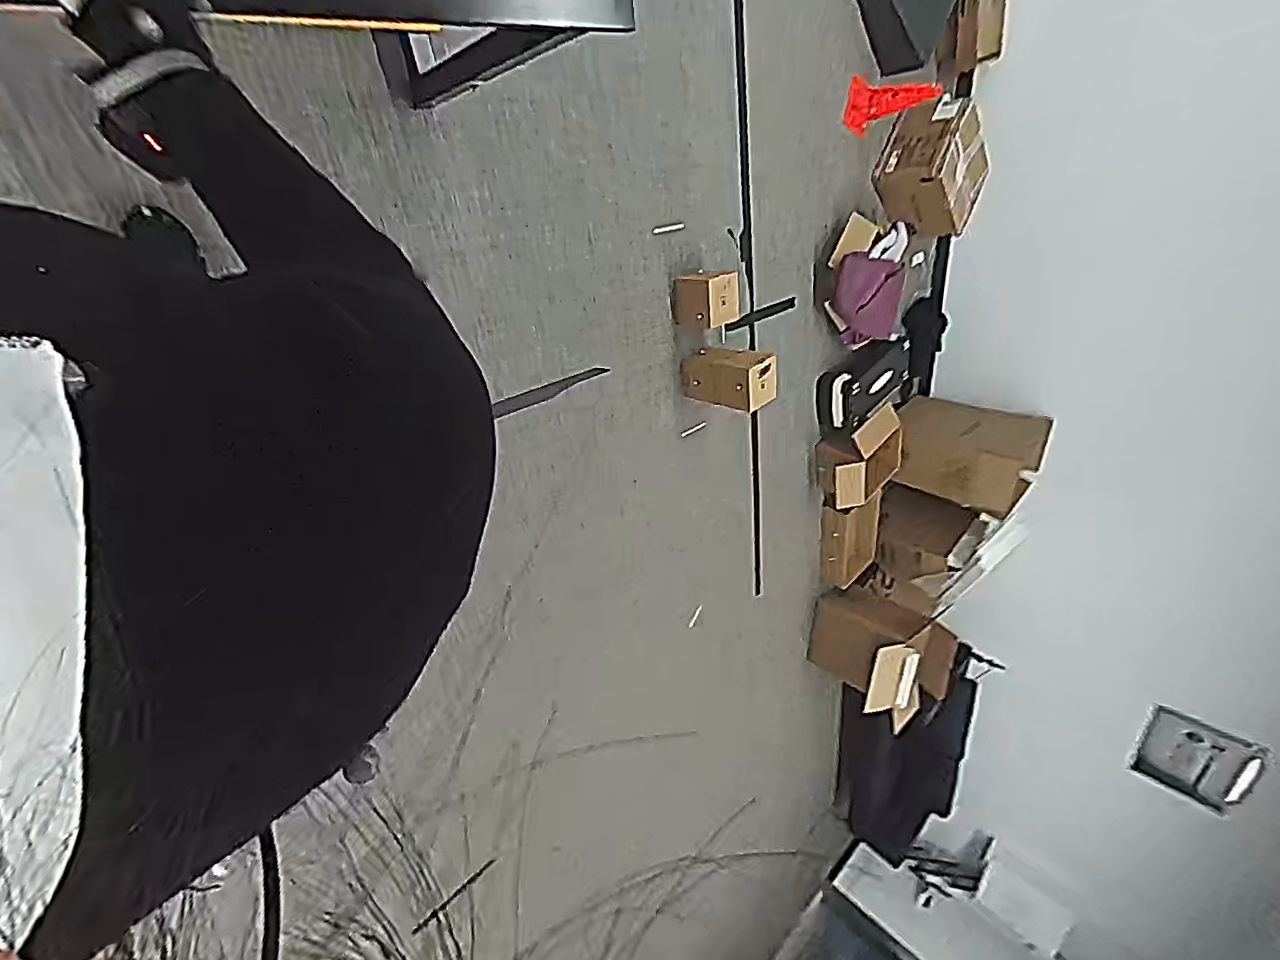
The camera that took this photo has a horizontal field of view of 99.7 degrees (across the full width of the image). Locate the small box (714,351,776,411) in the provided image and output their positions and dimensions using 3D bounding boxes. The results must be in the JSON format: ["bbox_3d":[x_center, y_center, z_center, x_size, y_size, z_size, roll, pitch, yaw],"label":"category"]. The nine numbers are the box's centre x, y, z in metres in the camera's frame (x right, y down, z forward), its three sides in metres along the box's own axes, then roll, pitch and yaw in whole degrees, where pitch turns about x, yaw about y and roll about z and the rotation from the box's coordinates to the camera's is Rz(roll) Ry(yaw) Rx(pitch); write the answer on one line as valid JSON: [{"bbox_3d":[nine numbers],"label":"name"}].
[{"bbox_3d":[0.398,-0.385,2.058,0.168,0.176,0.179,-32,127,-32],"label":"small box"}]

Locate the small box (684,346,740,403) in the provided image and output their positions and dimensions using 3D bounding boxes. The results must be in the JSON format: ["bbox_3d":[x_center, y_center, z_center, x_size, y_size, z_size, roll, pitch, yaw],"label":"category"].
[{"bbox_3d":[0.290,-0.428,2.176,0.179,0.176,0.168,-31,127,-31],"label":"small box"}]

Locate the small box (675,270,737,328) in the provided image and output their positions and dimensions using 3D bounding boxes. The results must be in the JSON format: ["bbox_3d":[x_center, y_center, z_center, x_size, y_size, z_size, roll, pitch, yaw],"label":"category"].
[{"bbox_3d":[0.246,-0.681,2.024,0.168,0.176,0.179,-29,125,-34],"label":"small box"}]
